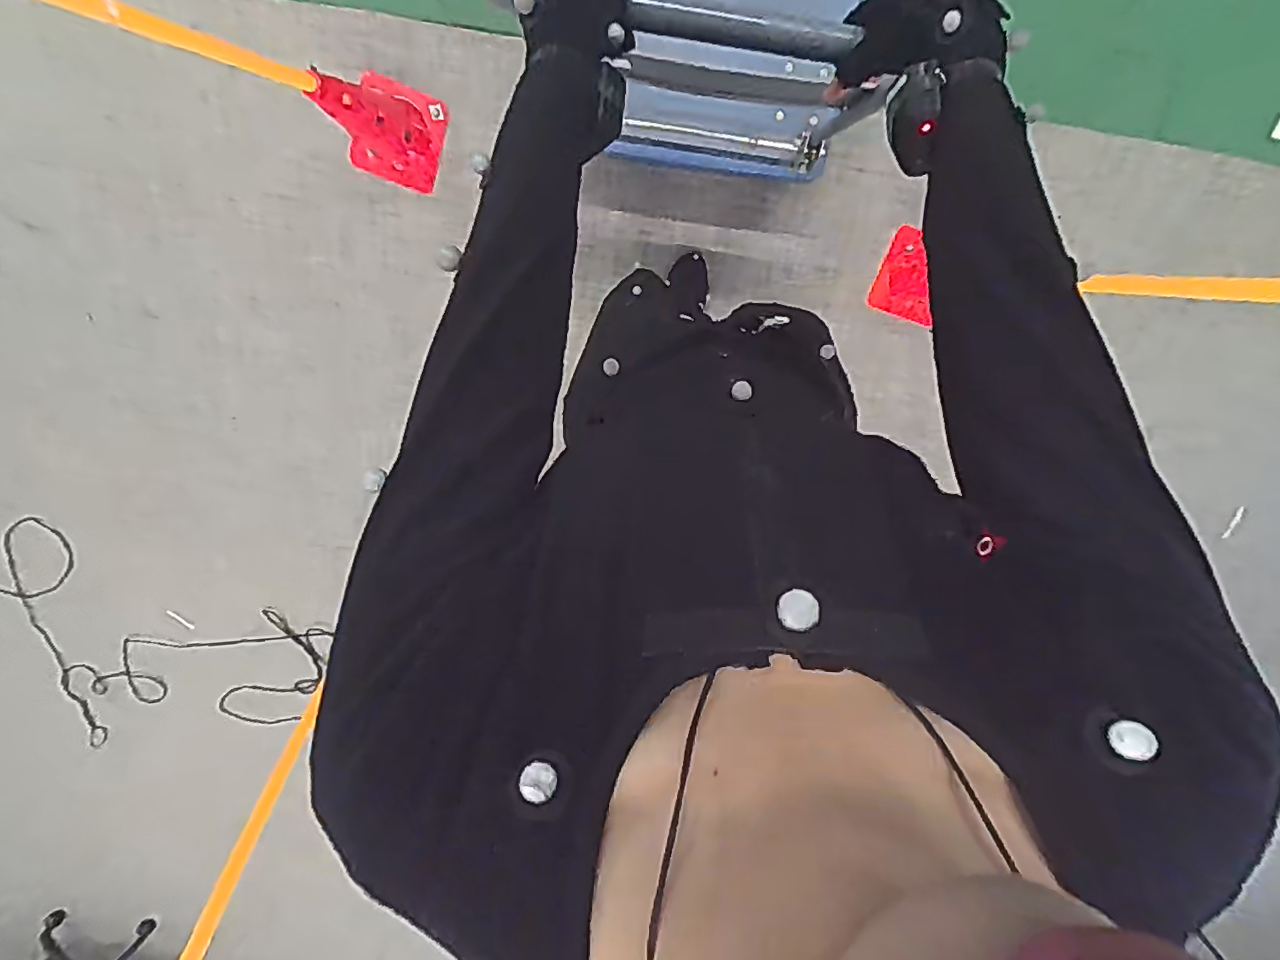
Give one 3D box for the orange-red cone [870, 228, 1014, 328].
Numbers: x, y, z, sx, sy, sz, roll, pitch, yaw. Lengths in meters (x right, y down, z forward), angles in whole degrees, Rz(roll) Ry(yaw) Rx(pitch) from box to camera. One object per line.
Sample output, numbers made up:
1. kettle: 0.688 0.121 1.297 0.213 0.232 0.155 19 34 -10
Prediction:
1. orange-red cone: 0.694 -0.440 1.188 0.198 0.360 0.199 18 110 -6
